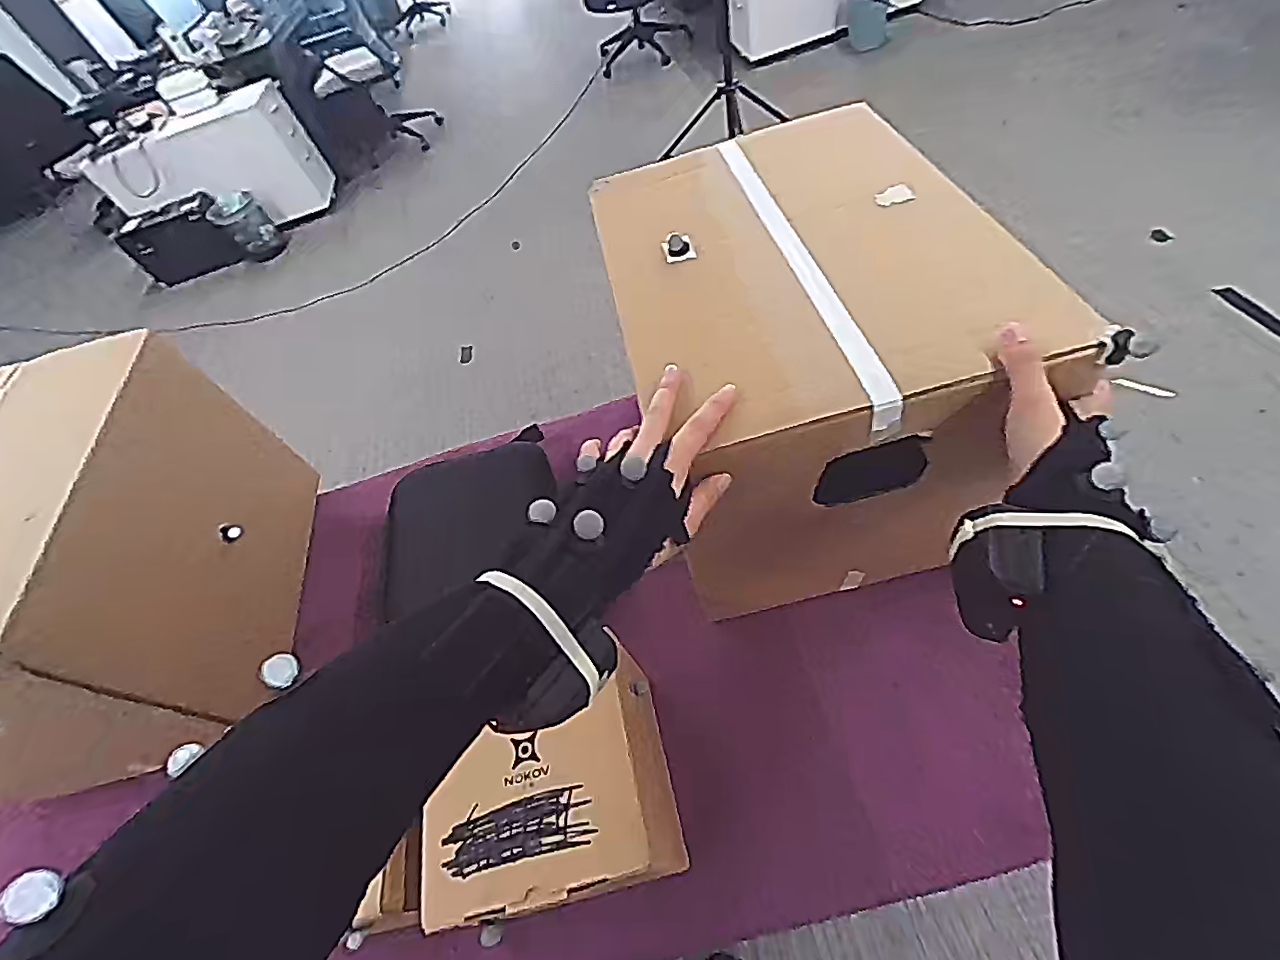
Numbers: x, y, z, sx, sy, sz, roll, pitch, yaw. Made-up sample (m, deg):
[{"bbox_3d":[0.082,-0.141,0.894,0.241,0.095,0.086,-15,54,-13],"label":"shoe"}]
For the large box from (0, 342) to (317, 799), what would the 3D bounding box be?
[{"bbox_3d":[-0.644,0.112,0.652,0.320,0.320,0.408,-17,55,1],"label":"large box"}]
